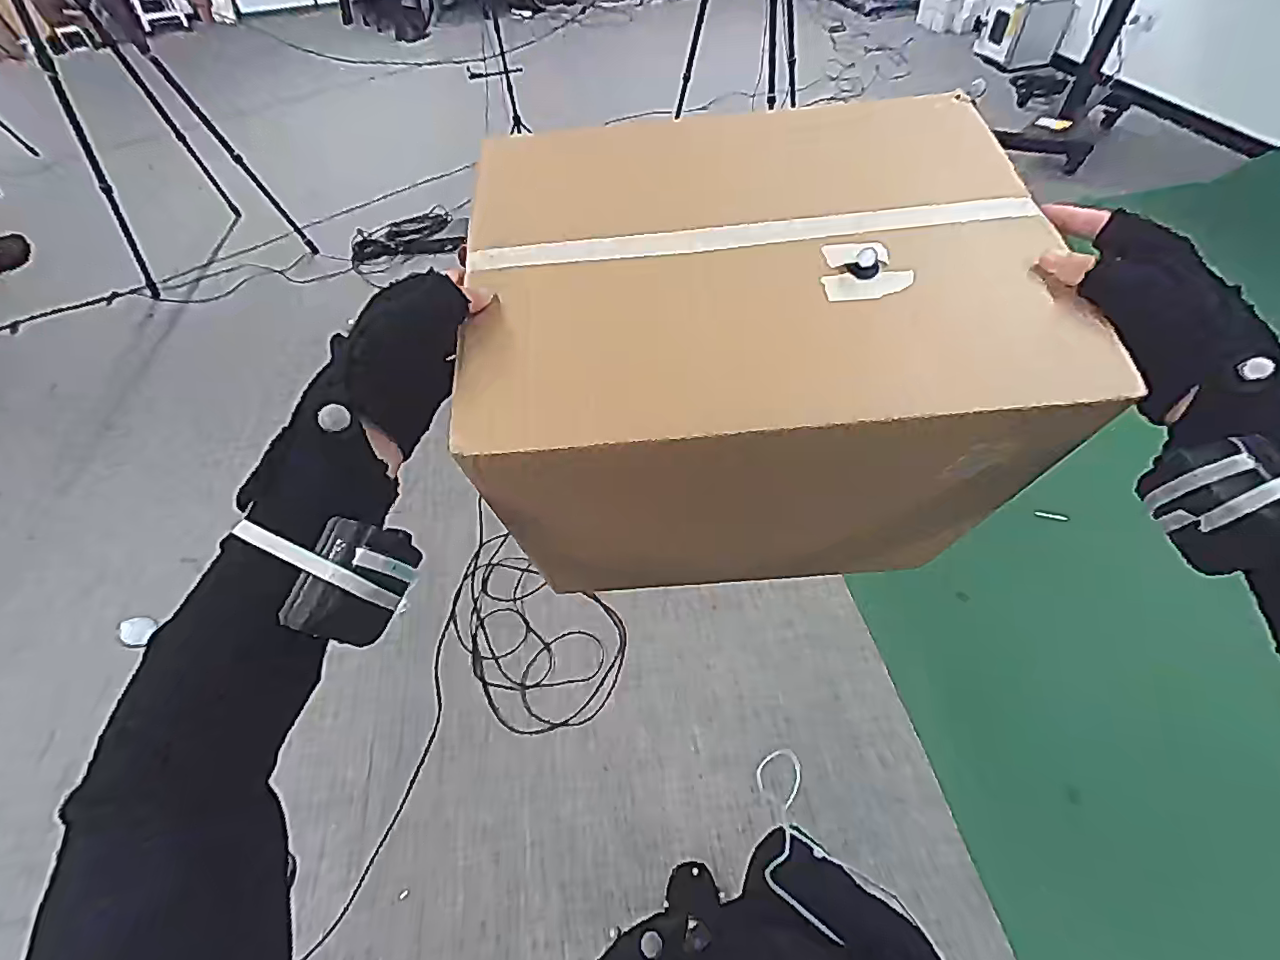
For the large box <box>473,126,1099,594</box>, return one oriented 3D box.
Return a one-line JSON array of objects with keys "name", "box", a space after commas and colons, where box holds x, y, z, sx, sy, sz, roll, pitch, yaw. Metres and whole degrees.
[{"name": "large box", "box": [0.085, -0.093, 0.538, 0.408, 0.320, 0.320, -4, 62, 1]}]
